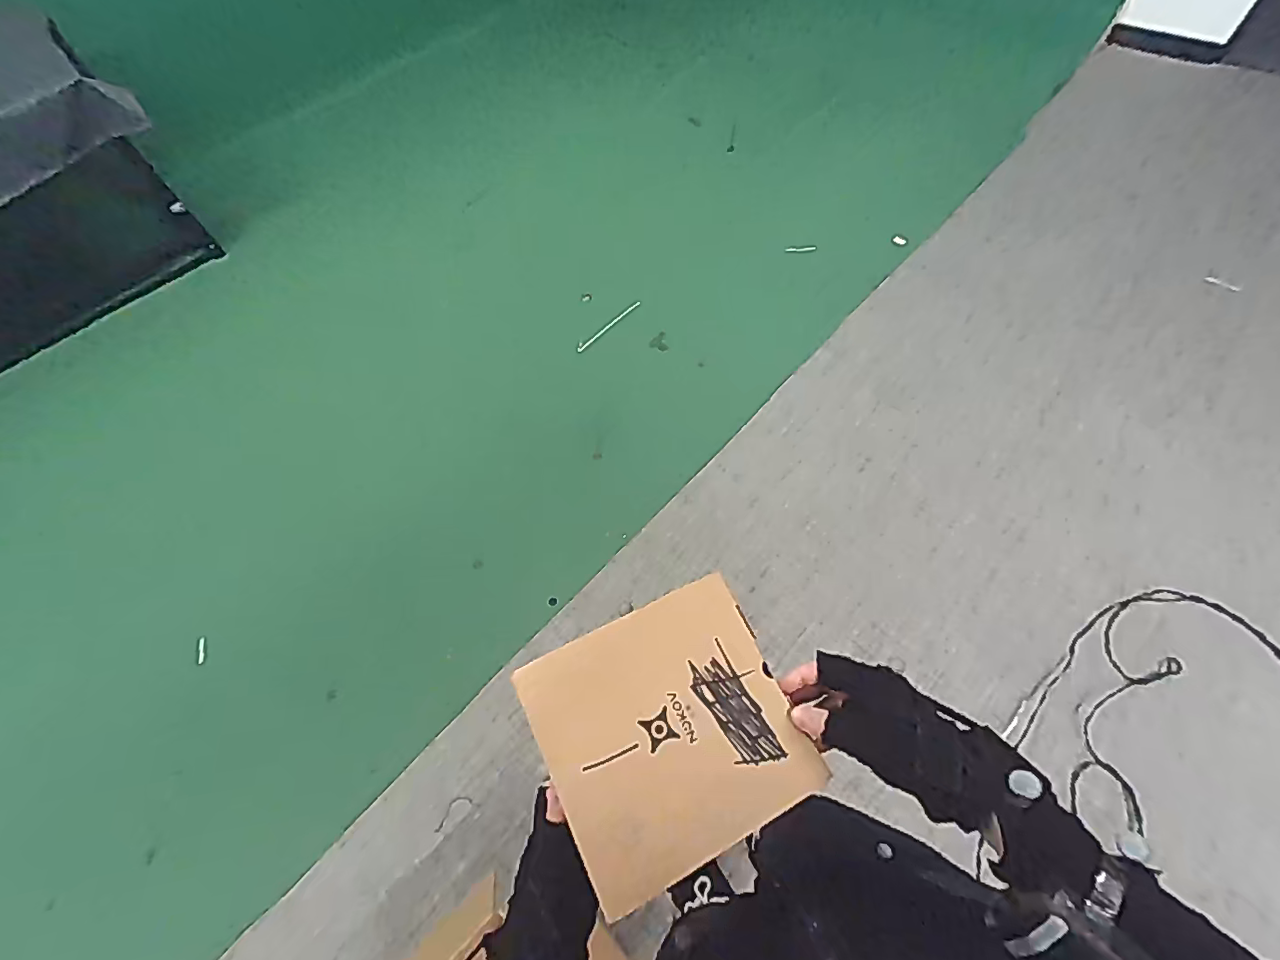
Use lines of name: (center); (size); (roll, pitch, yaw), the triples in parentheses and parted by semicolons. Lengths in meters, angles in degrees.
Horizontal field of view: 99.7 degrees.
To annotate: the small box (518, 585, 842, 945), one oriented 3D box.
small box: (0.018, 0.208, 0.440); (0.179, 0.176, 0.168); (-24, 71, -14)
